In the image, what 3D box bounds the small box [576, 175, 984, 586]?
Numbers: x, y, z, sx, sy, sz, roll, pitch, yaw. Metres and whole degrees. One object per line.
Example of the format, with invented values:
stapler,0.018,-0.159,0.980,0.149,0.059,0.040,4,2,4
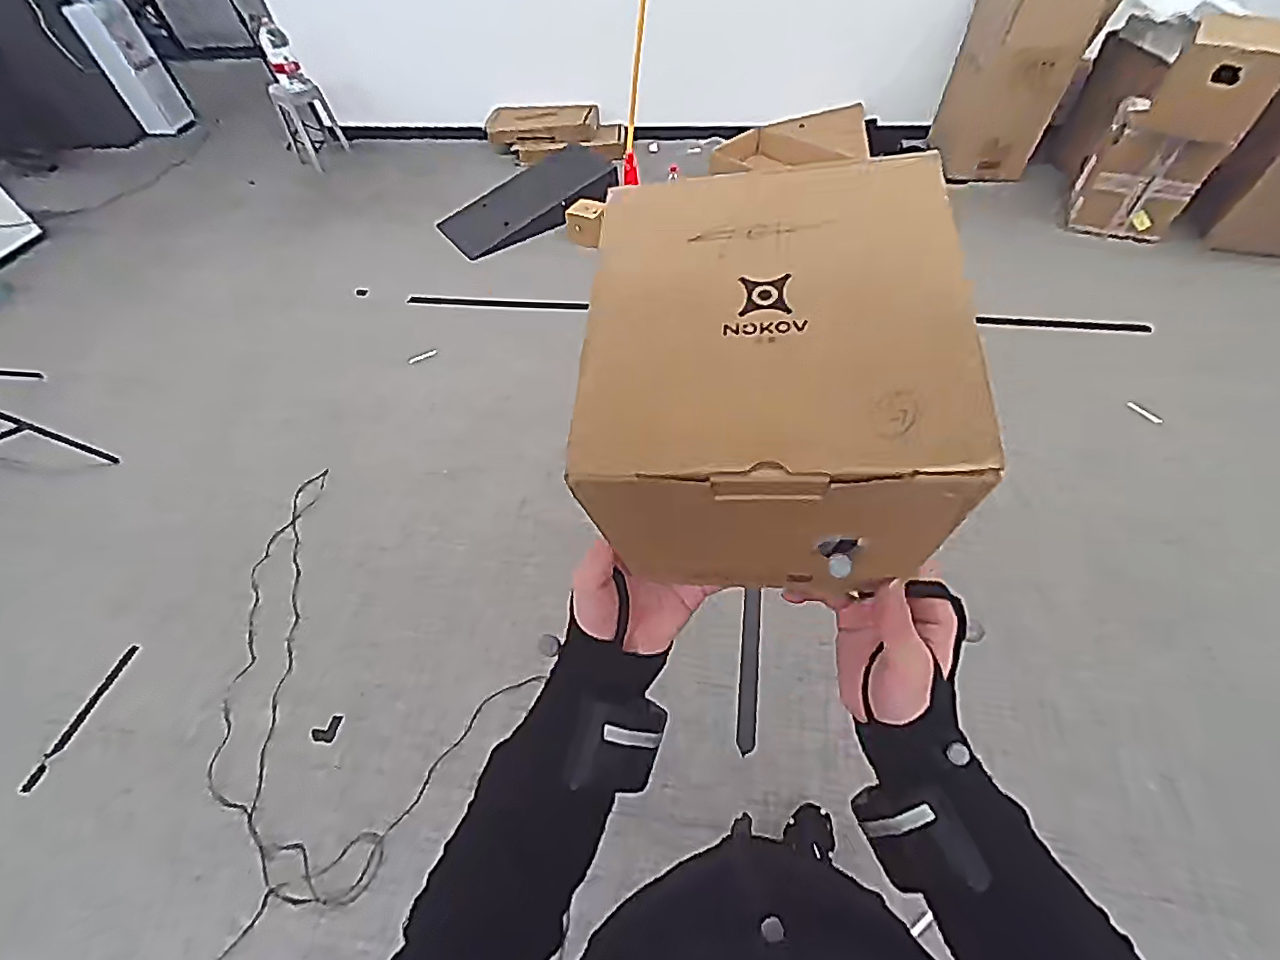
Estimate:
small box,0.072,-0.040,0.323,0.168,0.176,0.179,0,64,11
